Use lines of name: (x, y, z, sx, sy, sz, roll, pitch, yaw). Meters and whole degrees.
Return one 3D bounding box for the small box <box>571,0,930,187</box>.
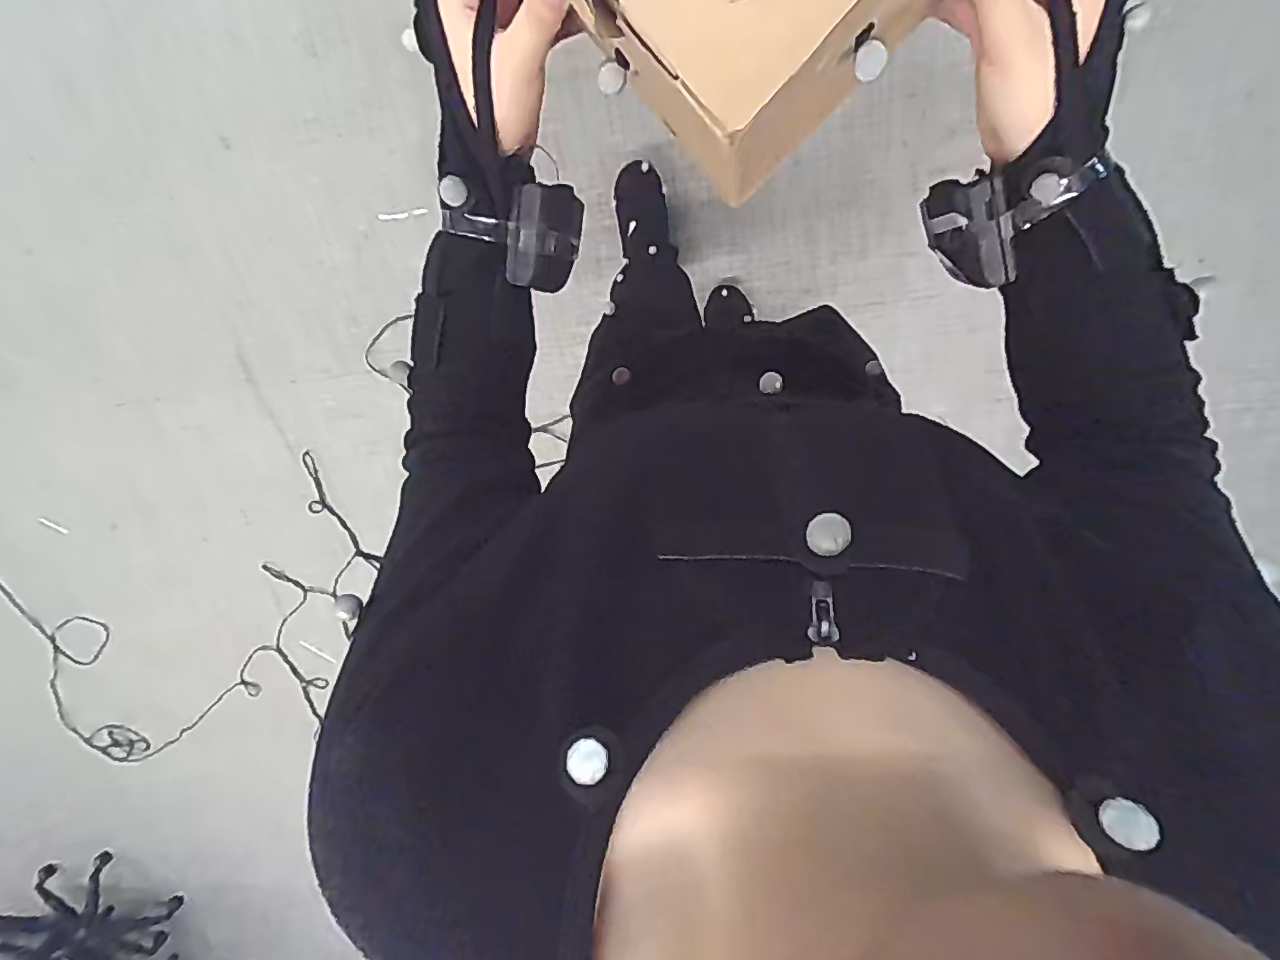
small box: (0.050, -0.266, 0.238, 0.179, 0.176, 0.168, -40, 97, 21)
